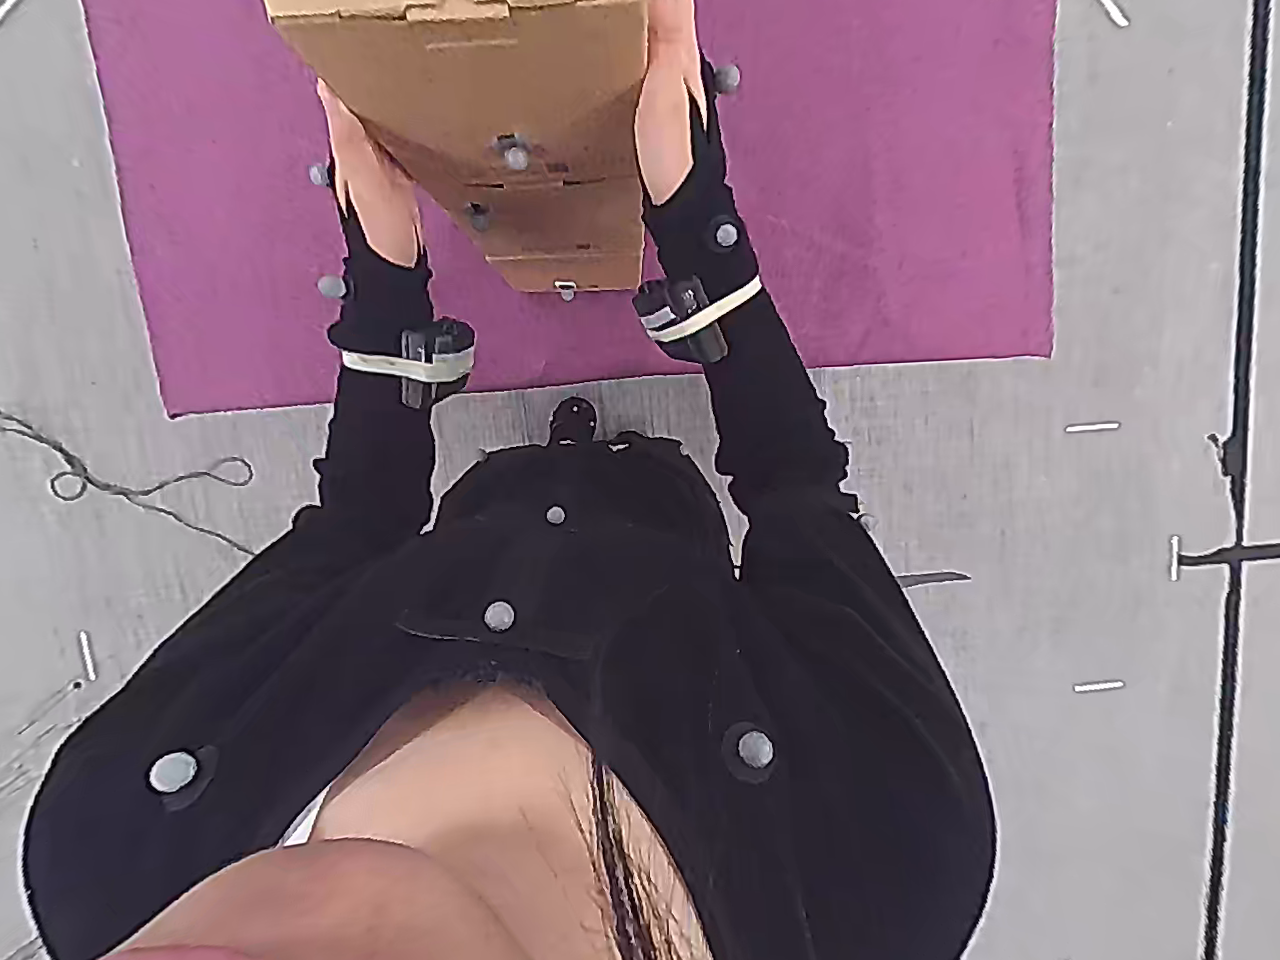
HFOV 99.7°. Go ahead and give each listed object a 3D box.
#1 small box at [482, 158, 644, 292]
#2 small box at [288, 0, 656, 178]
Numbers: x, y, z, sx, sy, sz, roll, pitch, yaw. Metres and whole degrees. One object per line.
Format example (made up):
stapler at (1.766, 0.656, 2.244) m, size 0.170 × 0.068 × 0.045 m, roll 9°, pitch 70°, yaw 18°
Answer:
small box at (-0.083, -0.329, 0.630) m, size 0.168 × 0.176 × 0.179 m, roll -3°, pitch 98°, yaw -1°
small box at (-0.079, -0.299, 0.301) m, size 0.168 × 0.176 × 0.179 m, roll -3°, pitch 96°, yaw 0°
